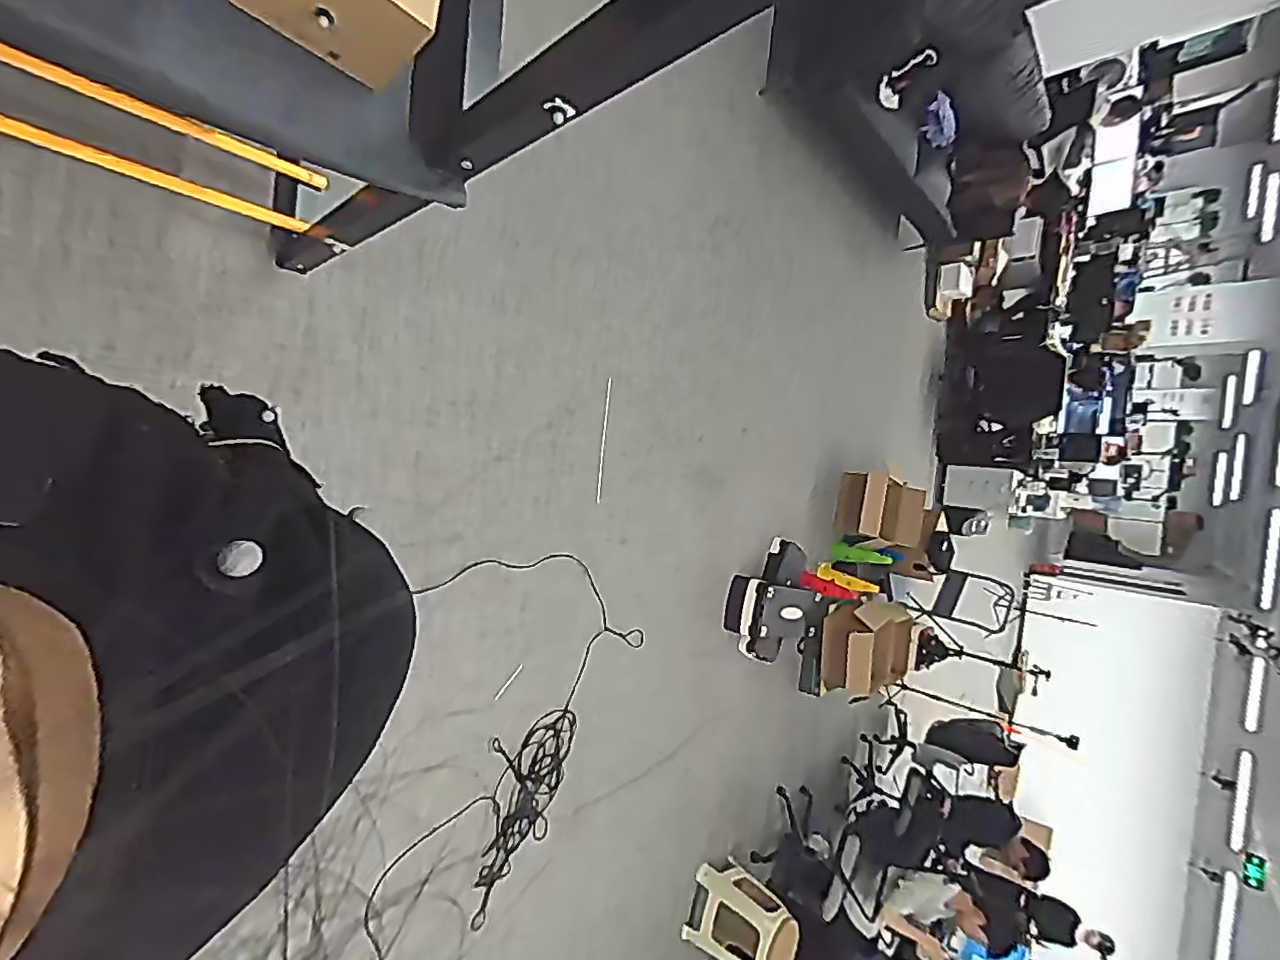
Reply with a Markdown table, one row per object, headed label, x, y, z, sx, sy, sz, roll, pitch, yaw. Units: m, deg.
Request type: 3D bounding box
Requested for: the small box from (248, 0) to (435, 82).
| label | x | y | z | sx | sy | sz | roll | pitch | yaw |
| --- | --- | --- | --- | --- | --- | --- | --- | --- | --- |
| small box | -0.335 | -0.601 | 0.602 | 0.168 | 0.176 | 0.179 | 10 | 87 | -47 |
